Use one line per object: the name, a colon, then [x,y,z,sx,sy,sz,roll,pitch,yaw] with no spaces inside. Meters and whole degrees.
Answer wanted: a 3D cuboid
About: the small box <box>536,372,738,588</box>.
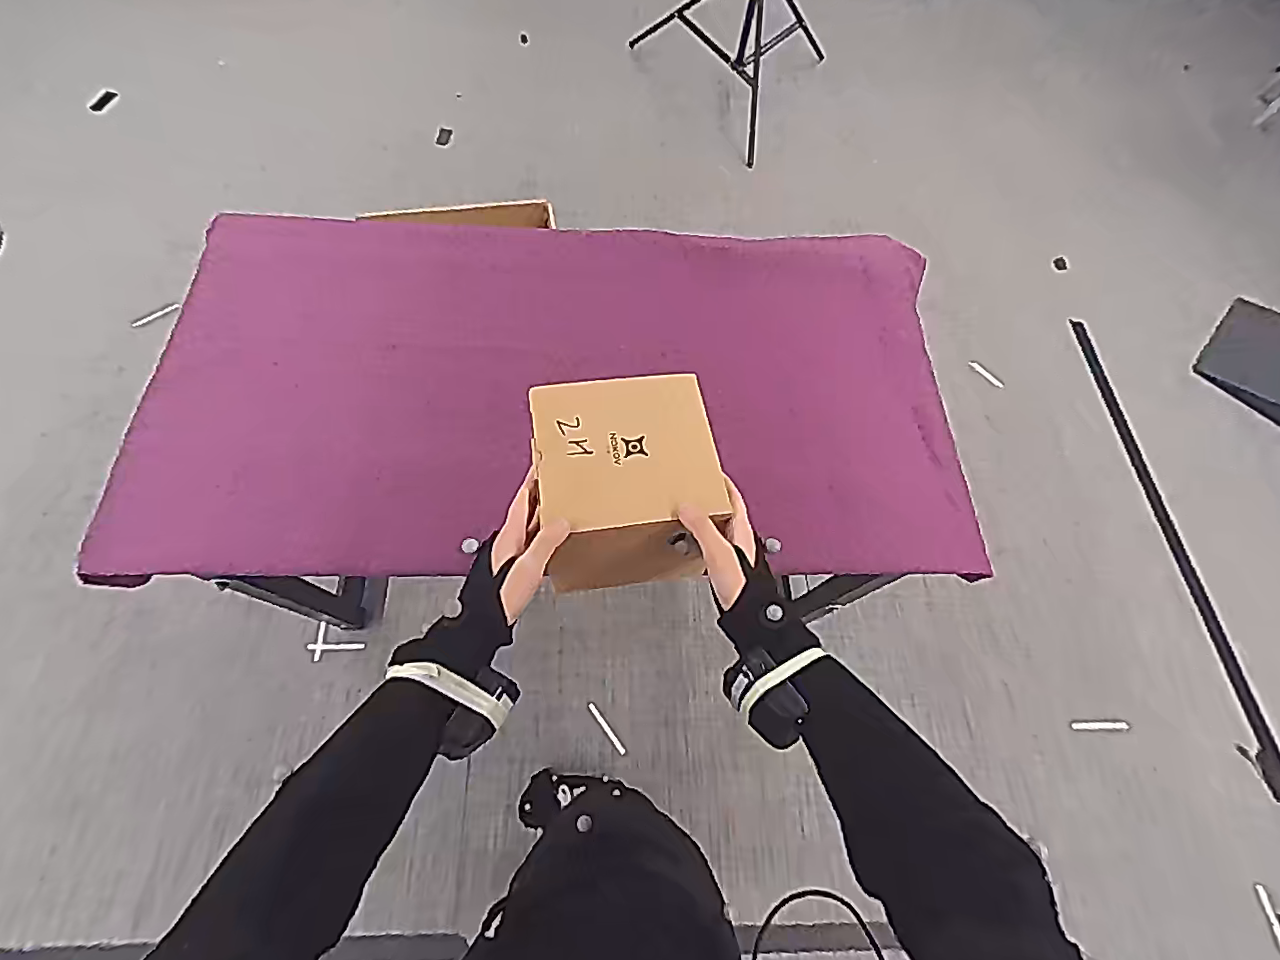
small box: [-0.013,0.006,0.582,0.179,0.176,0.168,-7,62,-7]
